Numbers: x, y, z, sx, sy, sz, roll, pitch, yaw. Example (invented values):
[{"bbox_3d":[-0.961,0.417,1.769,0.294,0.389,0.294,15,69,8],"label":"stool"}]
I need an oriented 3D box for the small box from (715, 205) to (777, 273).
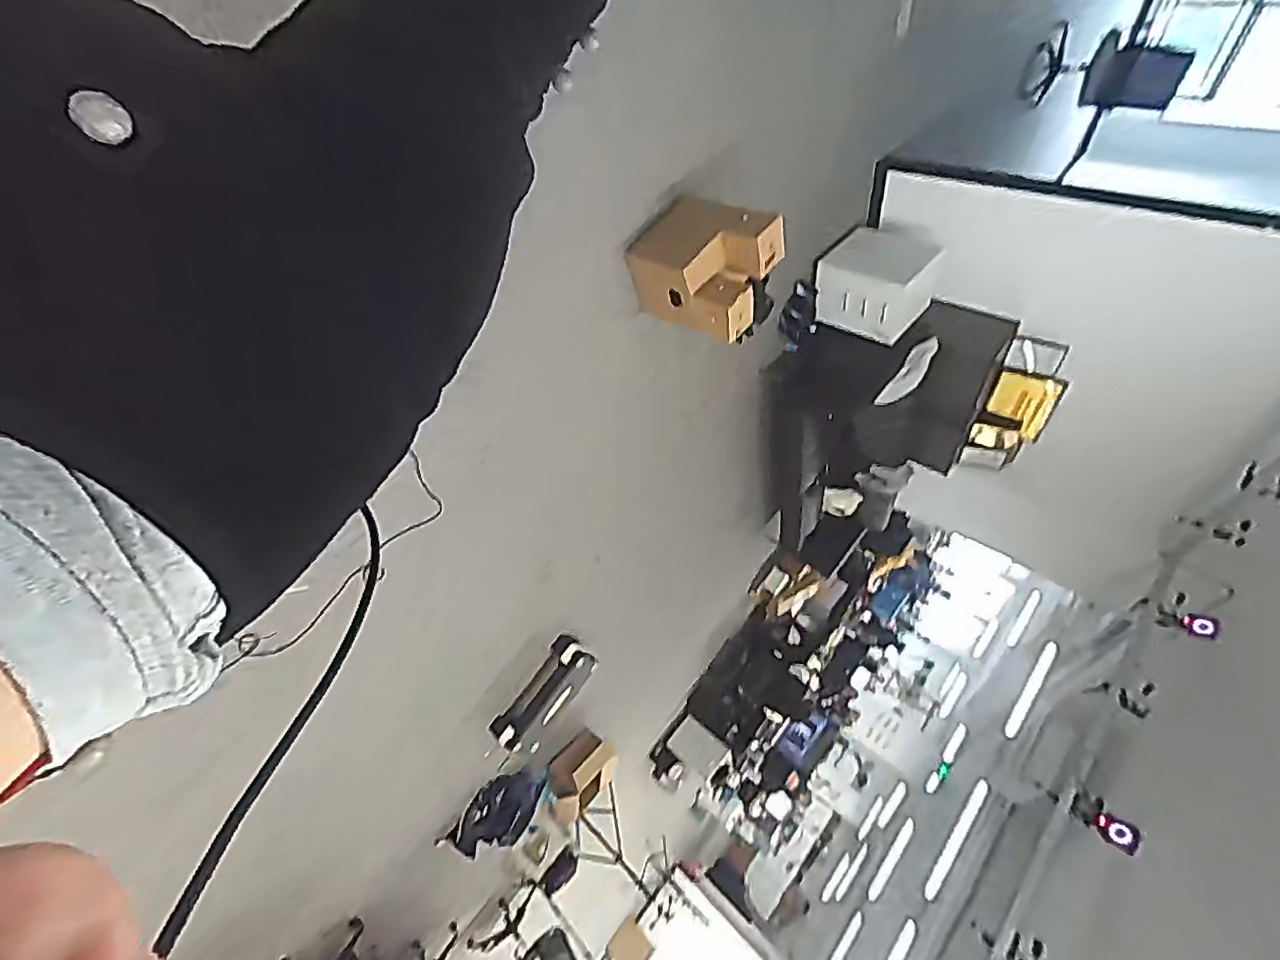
[{"bbox_3d":[0.413,-0.943,2.109,0.168,0.176,0.179,-49,144,-19],"label":"small box"}]

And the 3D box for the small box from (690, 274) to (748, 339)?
[{"bbox_3d":[0.313,-0.701,2.160,0.168,0.176,0.179,-48,148,-21],"label":"small box"}]
